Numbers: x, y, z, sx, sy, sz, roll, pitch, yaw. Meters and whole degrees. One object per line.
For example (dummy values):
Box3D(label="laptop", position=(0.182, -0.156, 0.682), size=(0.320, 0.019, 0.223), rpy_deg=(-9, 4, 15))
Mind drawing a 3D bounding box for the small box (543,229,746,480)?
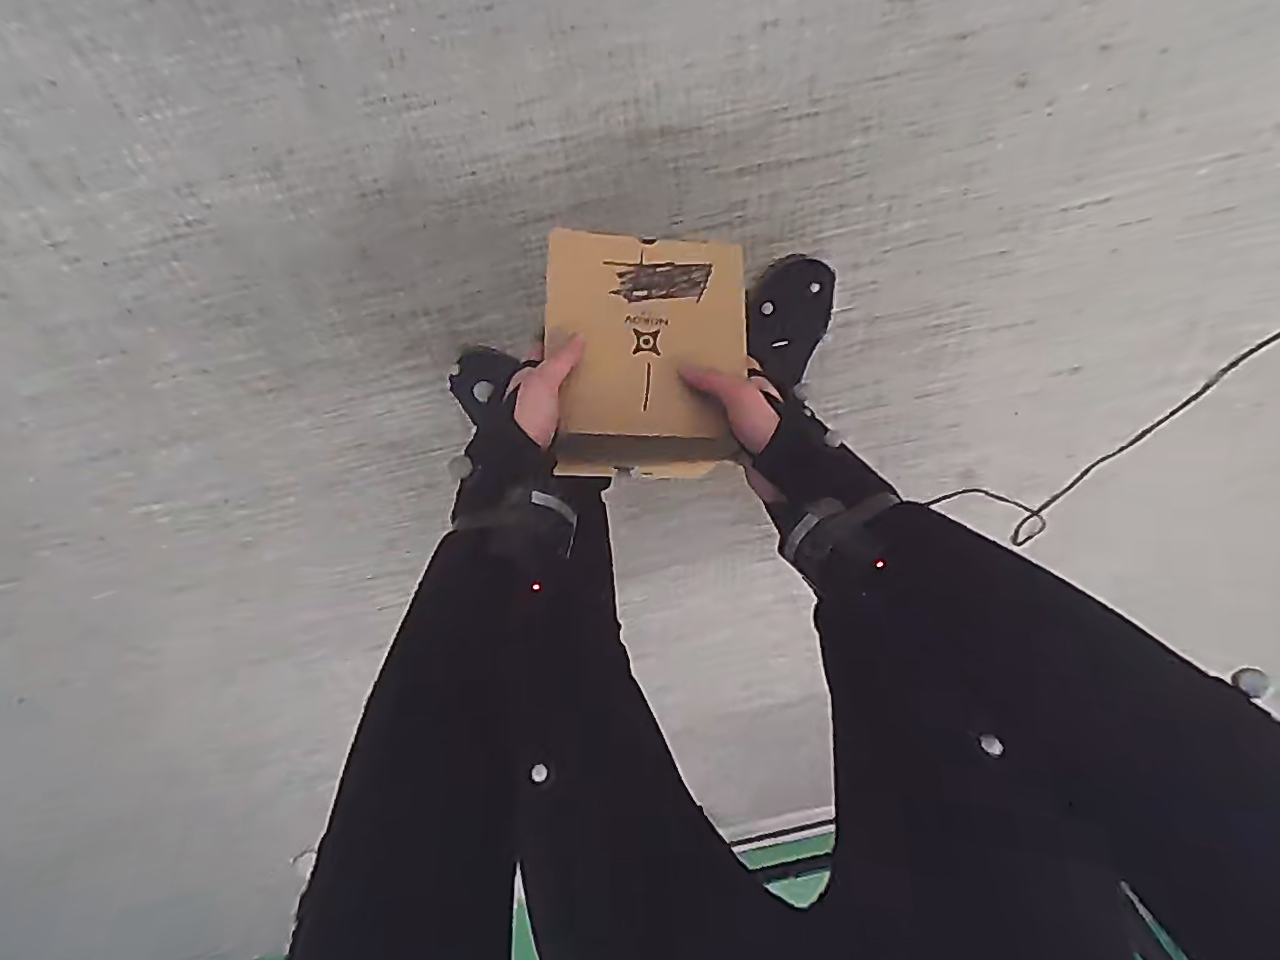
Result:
Box3D(label="small box", position=(-0.006, -0.104, 0.518), size=(0.168, 0.179, 0.176), rpy_deg=(2, 170, -8))
